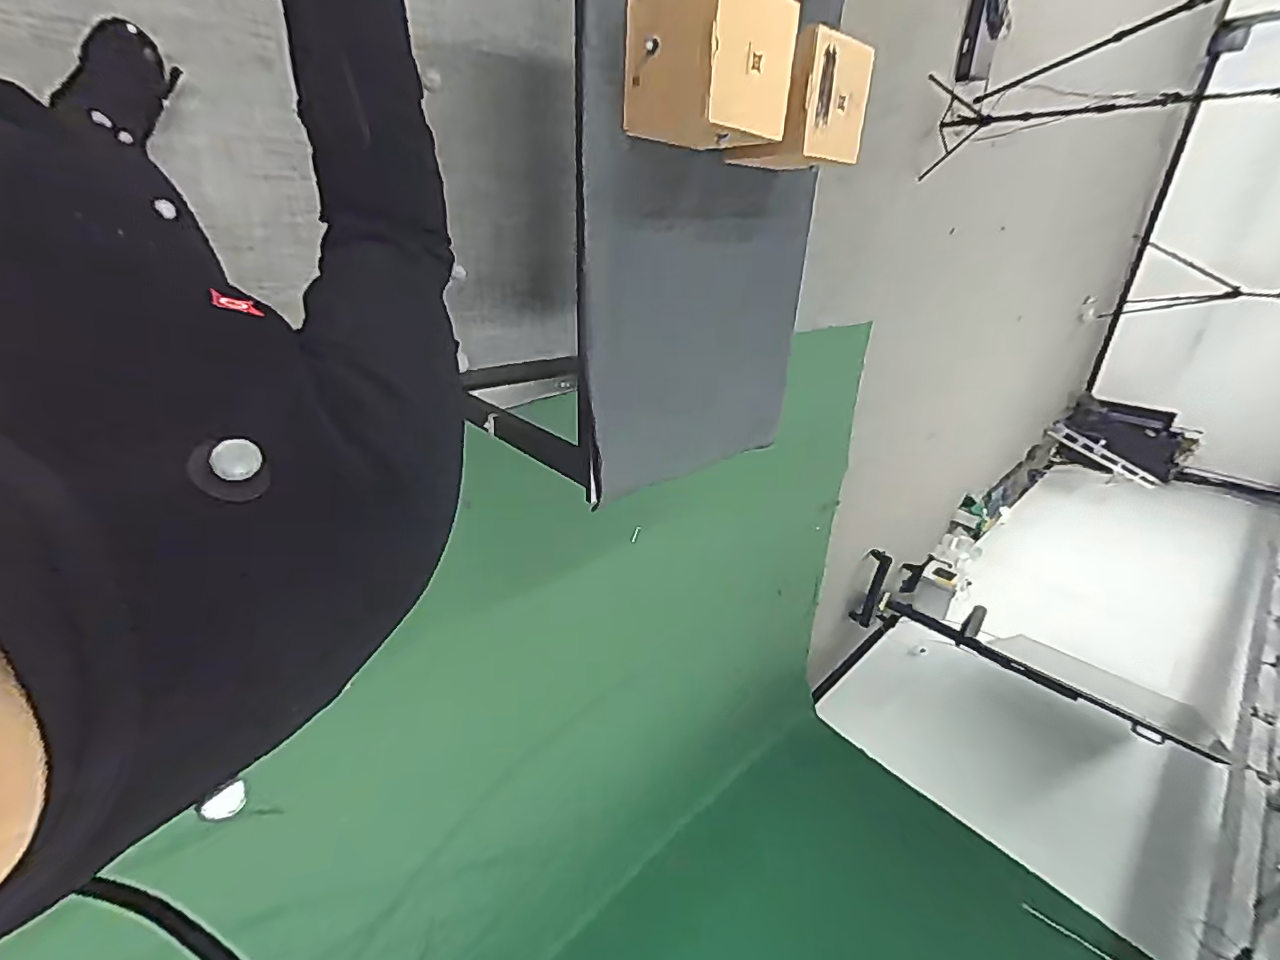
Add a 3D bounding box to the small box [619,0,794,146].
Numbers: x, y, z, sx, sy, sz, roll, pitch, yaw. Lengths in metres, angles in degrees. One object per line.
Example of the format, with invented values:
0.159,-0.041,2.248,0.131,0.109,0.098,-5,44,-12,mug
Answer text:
0.092,-0.592,0.782,0.179,0.176,0.168,-19,122,-39,small box
